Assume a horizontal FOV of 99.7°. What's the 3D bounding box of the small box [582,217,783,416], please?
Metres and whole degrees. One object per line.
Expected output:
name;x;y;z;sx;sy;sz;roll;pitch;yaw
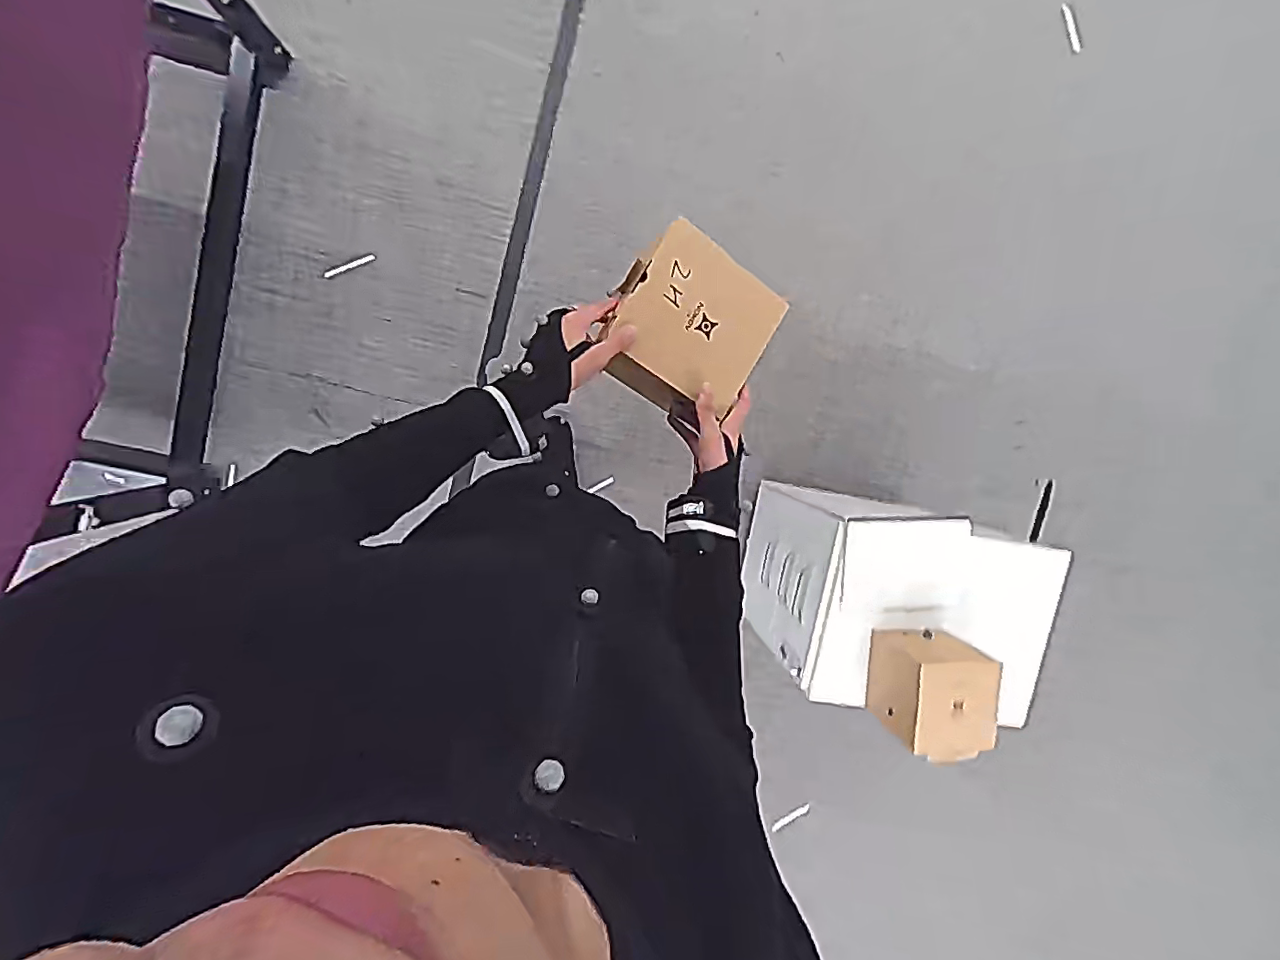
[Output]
small box;0.044;-0.200;0.709;0.179;0.176;0.168;31;89;-16

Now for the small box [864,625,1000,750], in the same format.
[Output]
small box;0.566;0.403;1.071;0.168;0.176;0.179;1;97;-7
